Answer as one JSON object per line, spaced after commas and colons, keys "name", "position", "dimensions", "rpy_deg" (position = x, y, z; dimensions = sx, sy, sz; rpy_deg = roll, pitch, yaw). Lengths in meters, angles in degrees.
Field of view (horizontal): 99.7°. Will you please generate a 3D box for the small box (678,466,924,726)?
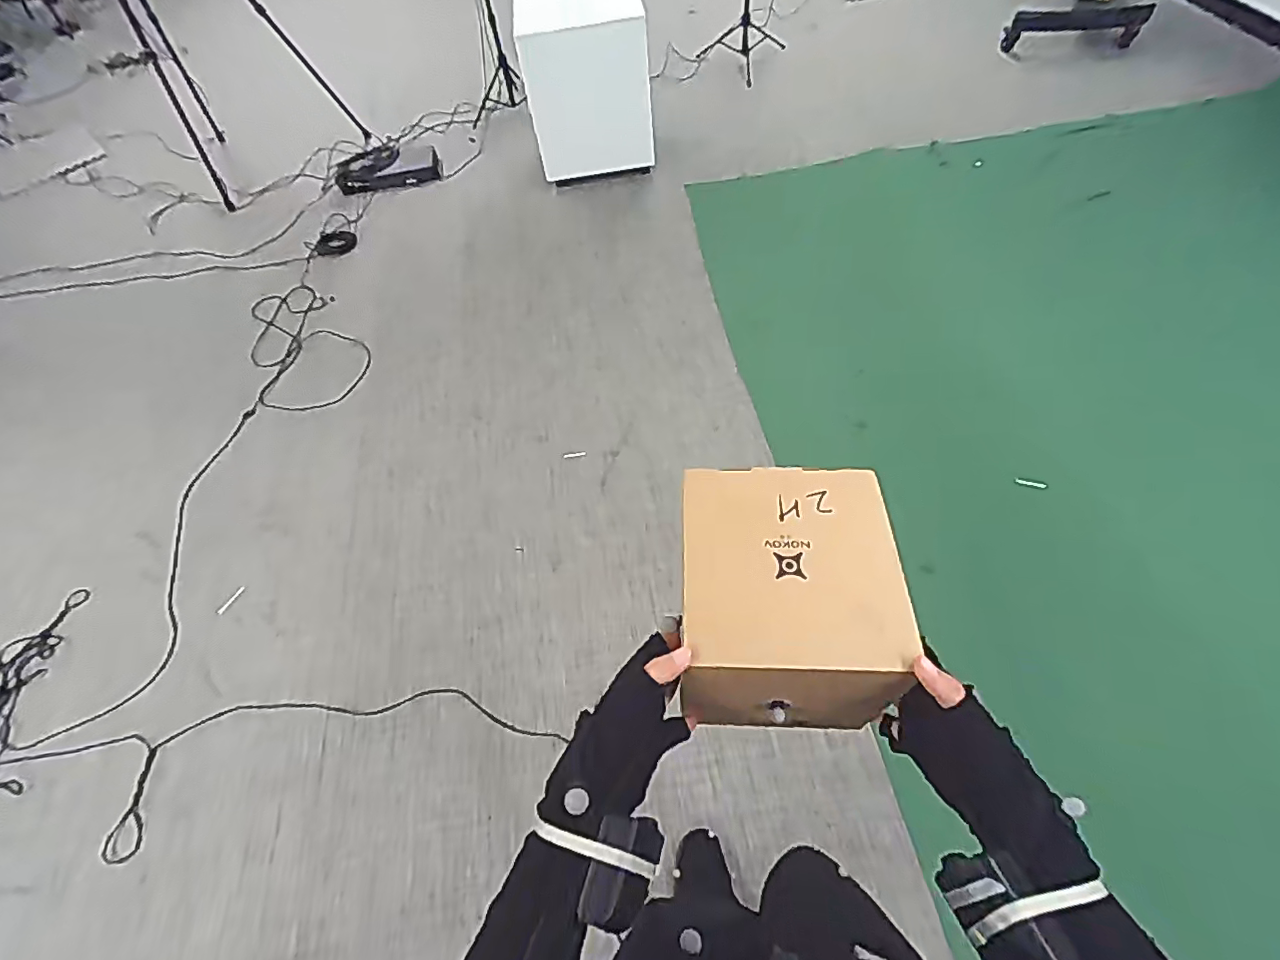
{"name": "small box", "position": [0.119, 0.106, 0.478], "dimensions": [0.168, 0.176, 0.179], "rpy_deg": [1, 52, 4]}
